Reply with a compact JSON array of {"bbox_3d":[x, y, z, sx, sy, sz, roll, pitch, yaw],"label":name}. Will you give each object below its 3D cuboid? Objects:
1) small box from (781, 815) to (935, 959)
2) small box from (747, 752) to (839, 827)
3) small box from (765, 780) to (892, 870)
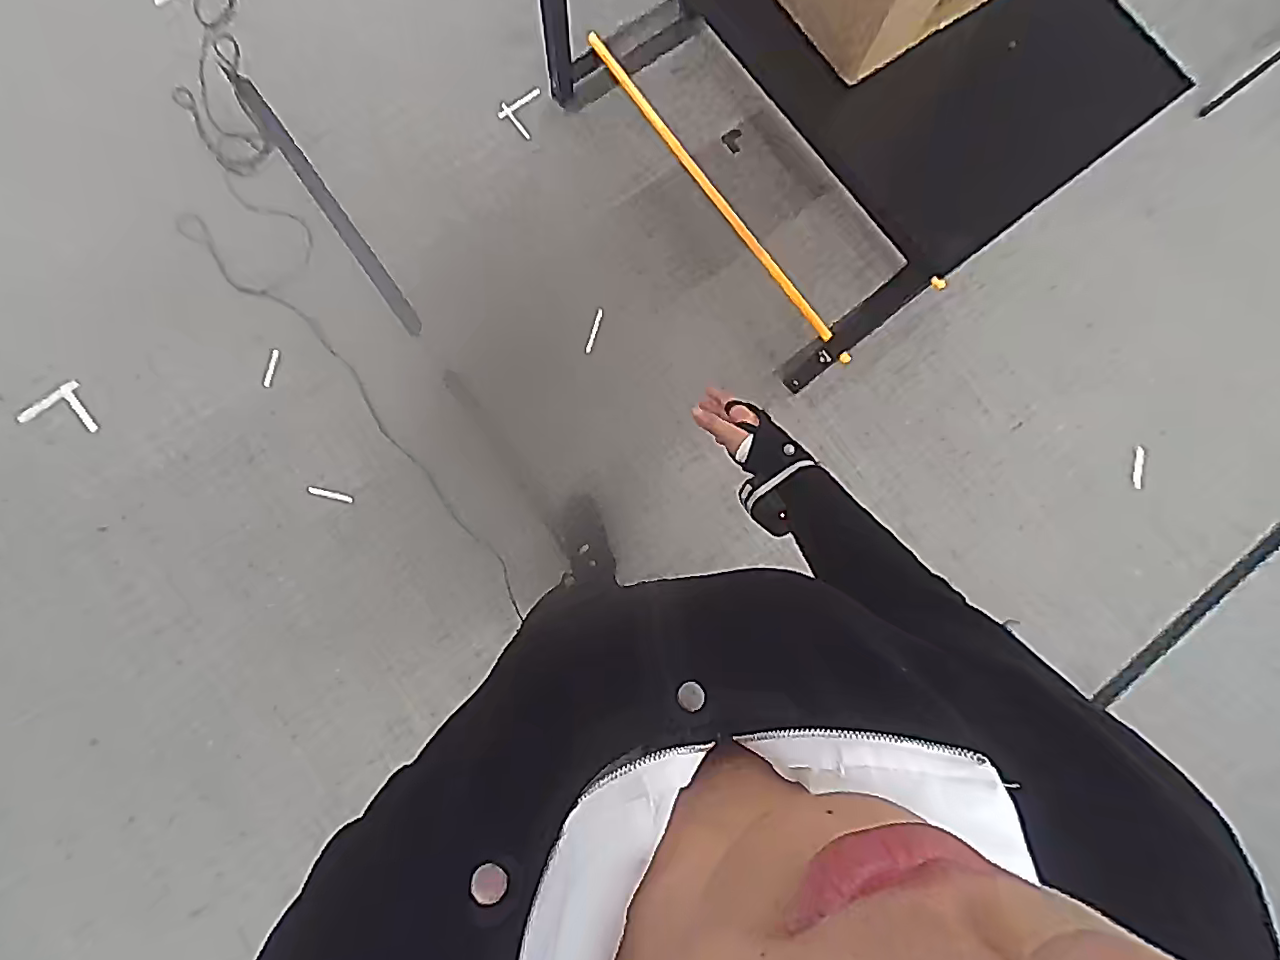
[{"bbox_3d":[0.403,0.791,1.031,0.179,0.176,0.168,44,82,3],"label":"small box"},{"bbox_3d":[0.398,0.826,1.359,0.168,0.176,0.179,-44,86,-8],"label":"small box"},{"bbox_3d":[0.404,0.810,1.195,0.179,0.176,0.168,-42,86,-7],"label":"small box"}]
